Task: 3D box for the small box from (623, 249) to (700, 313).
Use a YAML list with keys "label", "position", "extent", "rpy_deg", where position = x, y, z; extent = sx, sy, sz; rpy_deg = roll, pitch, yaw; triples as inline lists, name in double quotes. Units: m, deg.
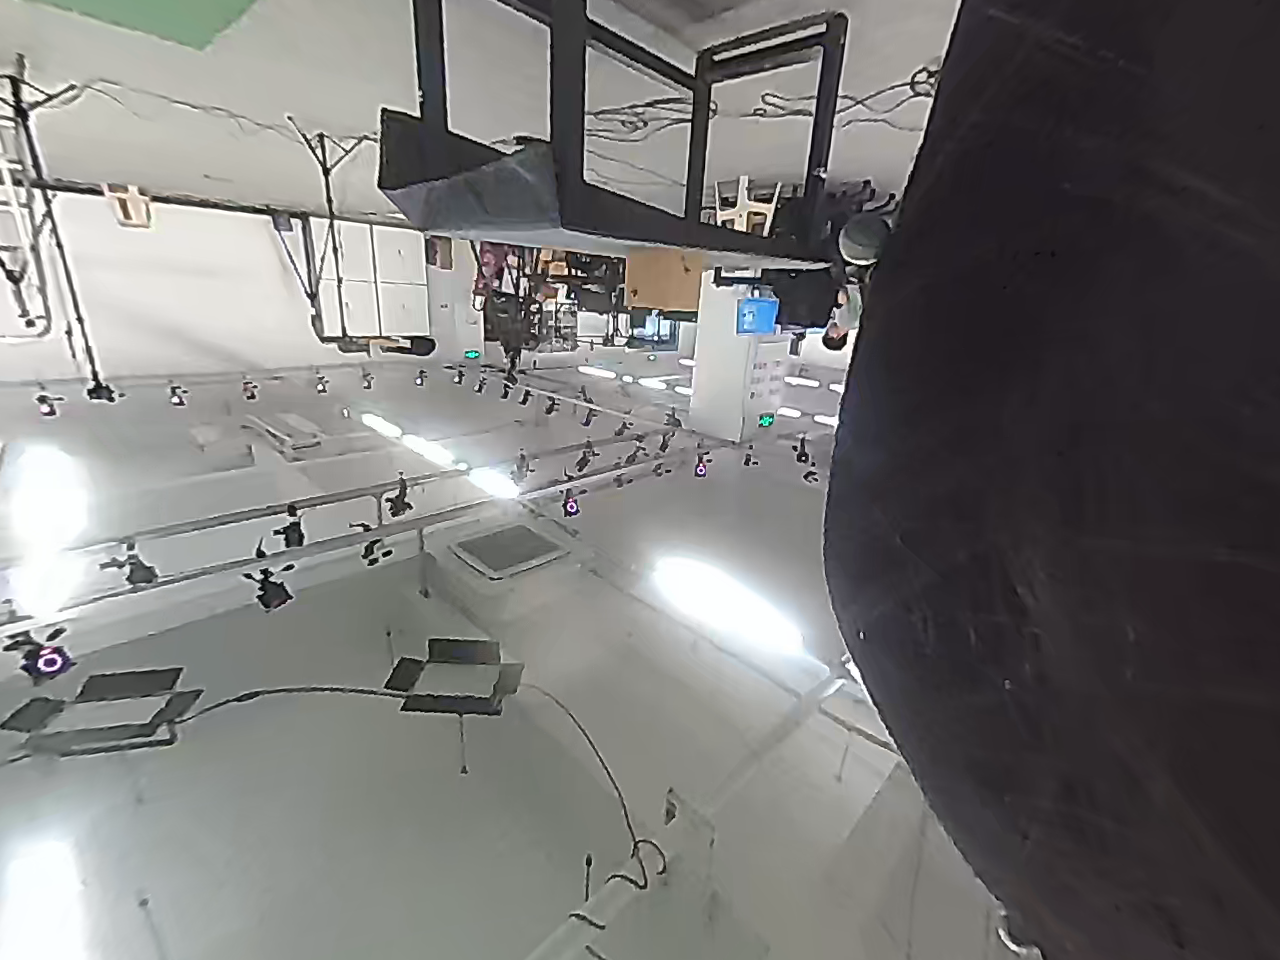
- label: "small box"
  position: [0.068, -0.610, 1.660]
  extent: [0.179, 0.176, 0.168]
  rpy_deg: [20, -154, 38]
